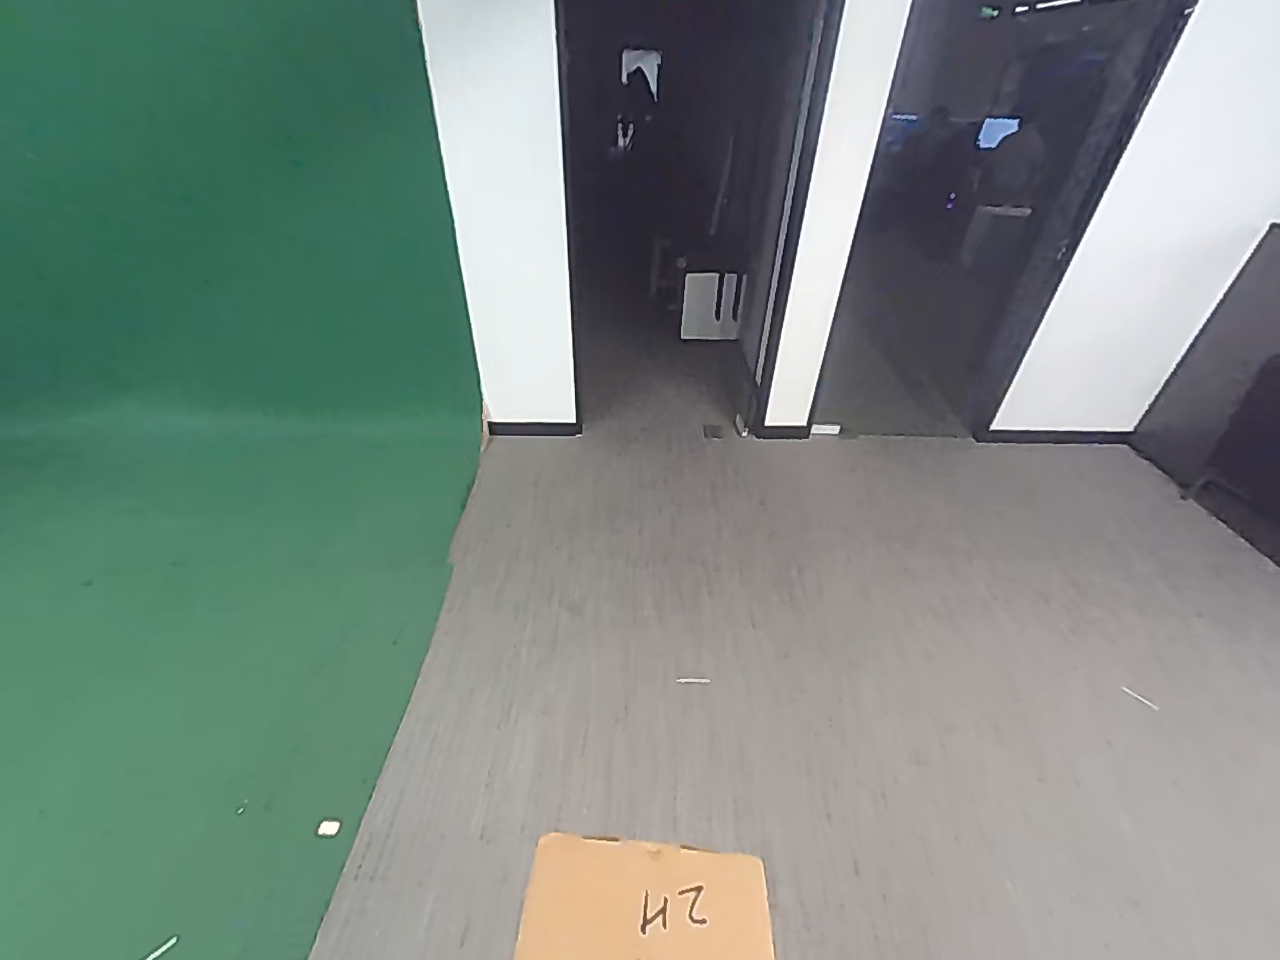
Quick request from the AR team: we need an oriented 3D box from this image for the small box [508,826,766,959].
[{"bbox_3d":[-0.008,0.379,0.369,0.168,0.176,0.179,7,31,1],"label":"small box"}]
